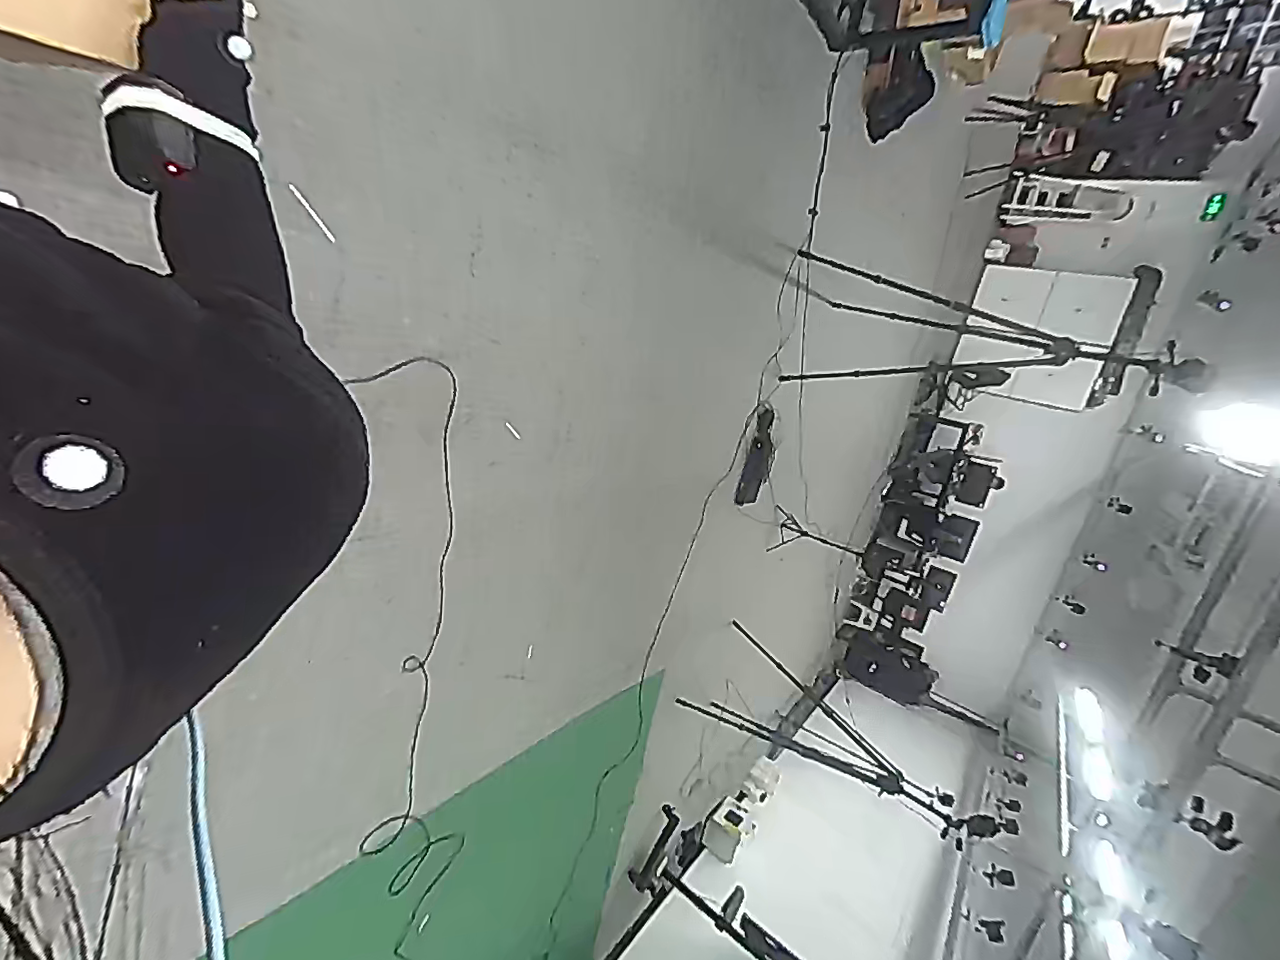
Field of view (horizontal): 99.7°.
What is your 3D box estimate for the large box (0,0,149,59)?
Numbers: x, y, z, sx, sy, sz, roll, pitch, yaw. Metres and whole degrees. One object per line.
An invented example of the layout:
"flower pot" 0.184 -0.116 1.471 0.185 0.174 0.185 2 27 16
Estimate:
"large box" -0.590 -0.484 0.280 0.408 0.320 0.320 -24 132 -55
